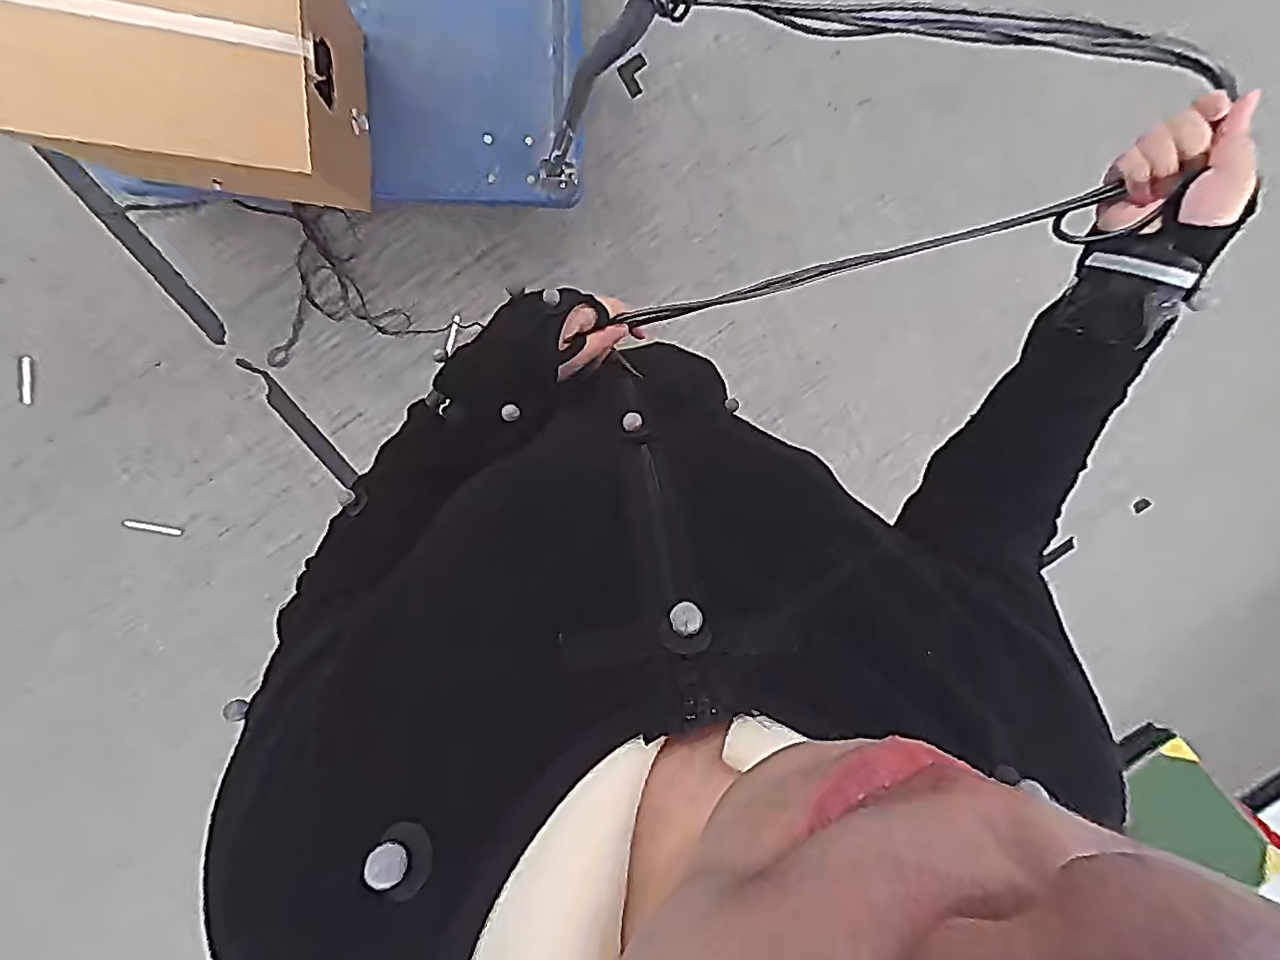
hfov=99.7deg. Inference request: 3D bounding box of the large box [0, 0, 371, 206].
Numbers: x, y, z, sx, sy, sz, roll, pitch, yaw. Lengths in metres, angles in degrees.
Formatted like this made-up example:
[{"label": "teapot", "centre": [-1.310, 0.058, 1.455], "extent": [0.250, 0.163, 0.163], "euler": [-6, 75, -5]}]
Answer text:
[{"label": "large box", "centre": [-0.682, -0.638, 0.841], "extent": [0.408, 0.320, 0.320], "euler": [2, 106, -12]}]
